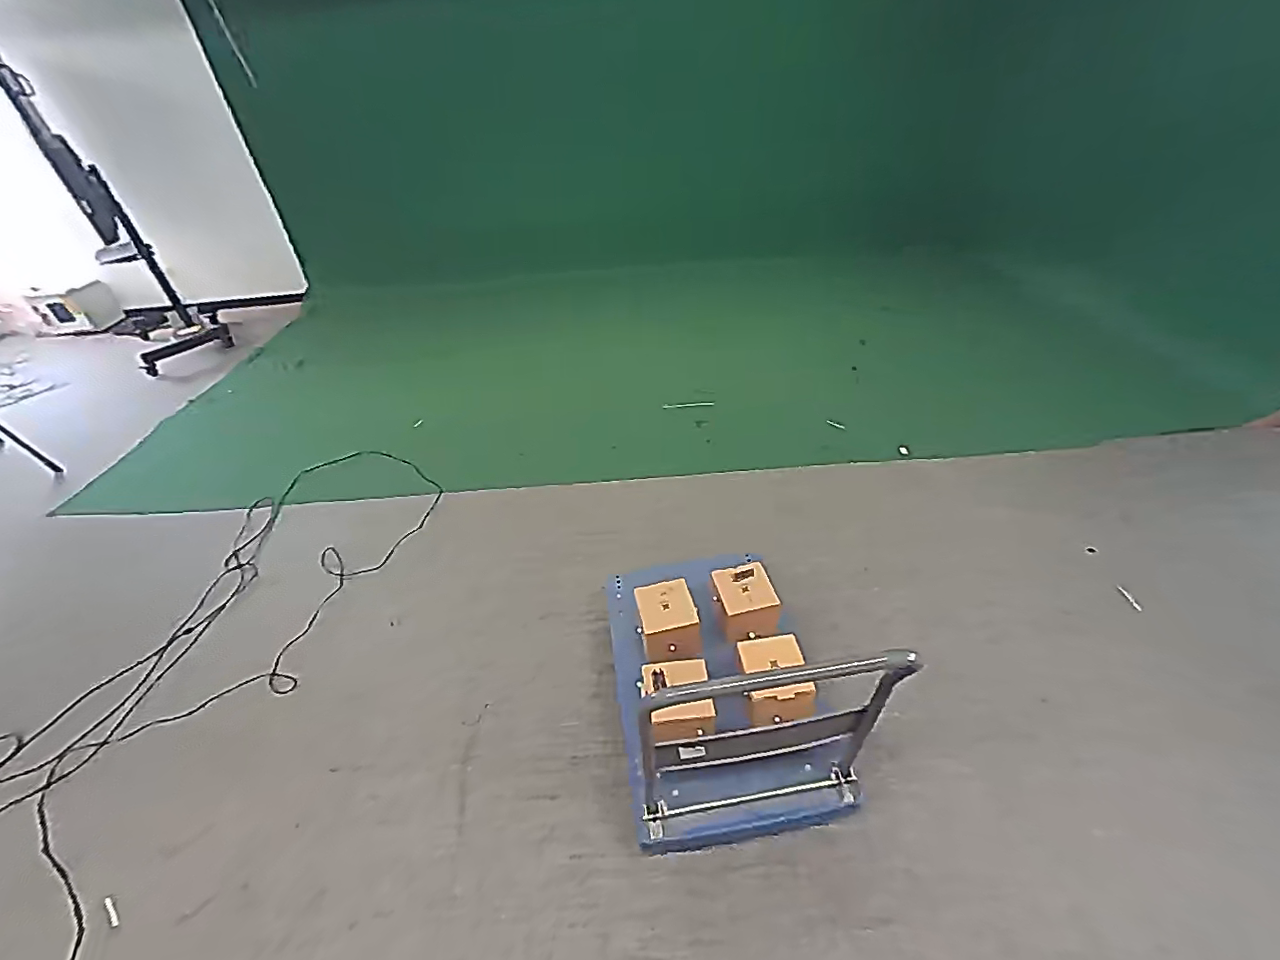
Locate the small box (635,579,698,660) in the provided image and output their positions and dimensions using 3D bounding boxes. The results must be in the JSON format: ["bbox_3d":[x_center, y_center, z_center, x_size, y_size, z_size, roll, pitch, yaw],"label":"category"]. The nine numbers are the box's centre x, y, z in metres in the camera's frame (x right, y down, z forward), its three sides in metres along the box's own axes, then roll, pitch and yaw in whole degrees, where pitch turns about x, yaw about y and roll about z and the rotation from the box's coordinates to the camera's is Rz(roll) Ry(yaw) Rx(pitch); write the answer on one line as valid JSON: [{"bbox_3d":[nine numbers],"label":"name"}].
[{"bbox_3d":[0.085,0.443,1.700,0.168,0.176,0.179,-10,39,-7],"label":"small box"}]

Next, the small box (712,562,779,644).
[{"bbox_3d":[0.331,0.394,1.729,0.168,0.176,0.179,-12,40,-6],"label":"small box"}]

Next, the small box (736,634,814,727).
[{"bbox_3d":[0.370,0.563,1.521,0.168,0.176,0.179,-8,40,-3],"label":"small box"}]
